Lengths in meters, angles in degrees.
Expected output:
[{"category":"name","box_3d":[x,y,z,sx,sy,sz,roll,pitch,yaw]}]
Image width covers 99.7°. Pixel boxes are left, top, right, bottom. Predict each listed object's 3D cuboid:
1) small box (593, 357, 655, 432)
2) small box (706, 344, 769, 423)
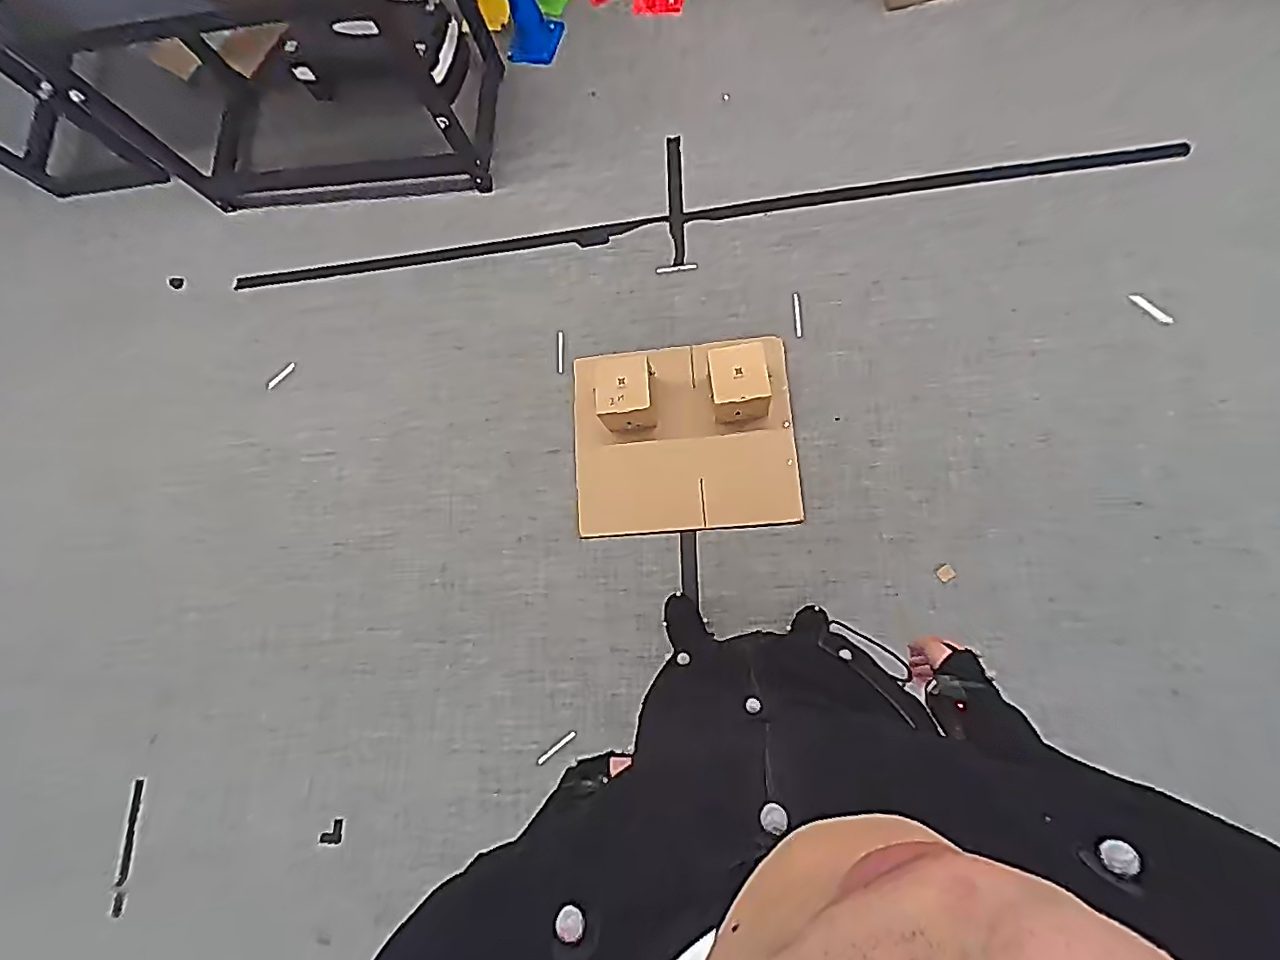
[{"category":"small box","box_3d":[-0.048,-0.265,1.694,0.168,0.176,0.179,-6,78,9]},{"category":"small box","box_3d":[0.293,-0.290,1.653,0.168,0.176,0.179,-9,77,7]}]
